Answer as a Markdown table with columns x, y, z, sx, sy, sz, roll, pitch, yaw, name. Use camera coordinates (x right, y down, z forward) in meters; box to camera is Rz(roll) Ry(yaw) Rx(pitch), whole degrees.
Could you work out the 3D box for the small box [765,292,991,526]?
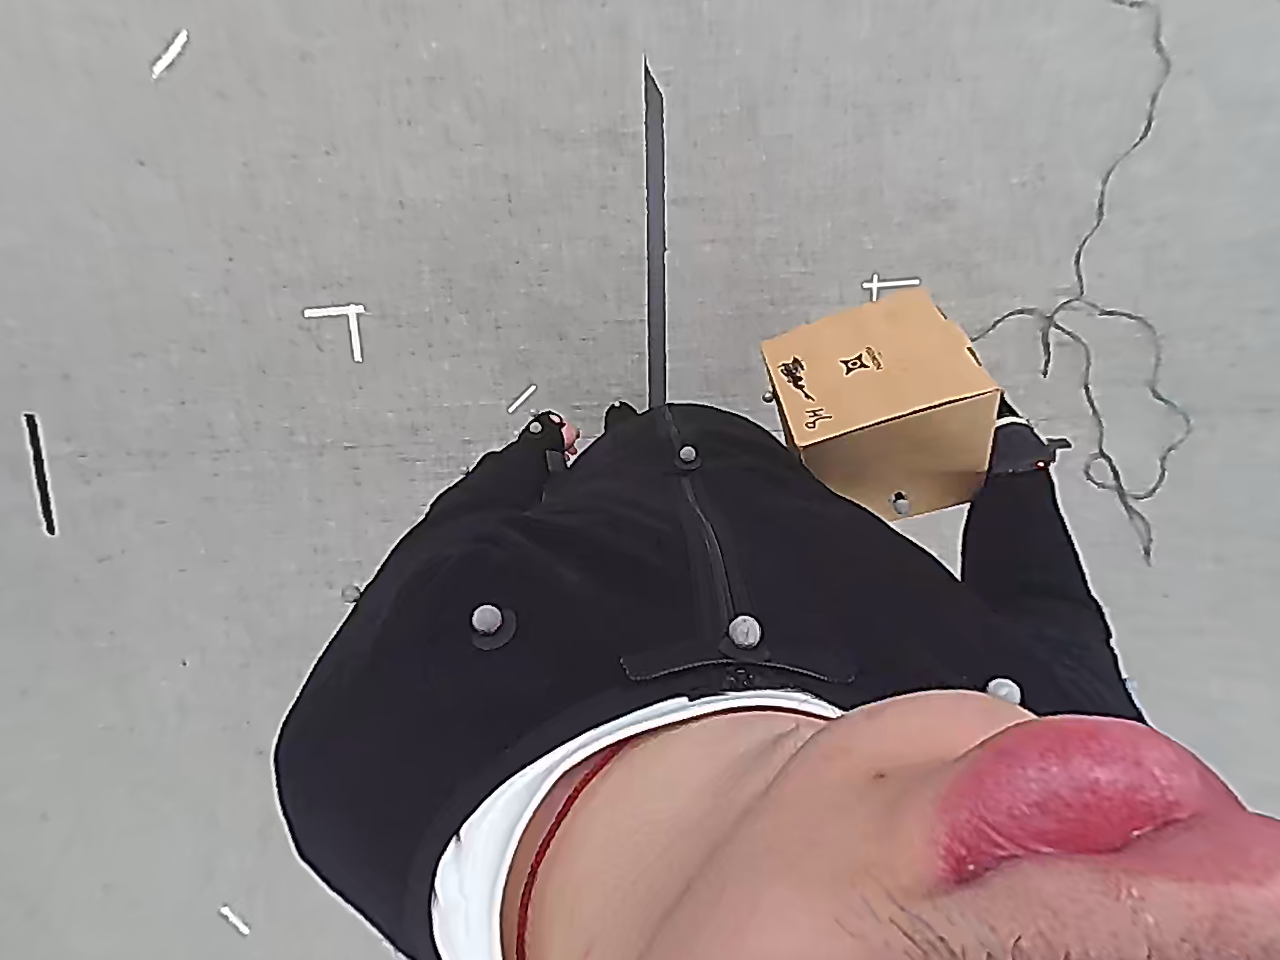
| x | y | z | sx | sy | sz | roll | pitch | yaw | name |
| --- | --- | --- | --- | --- | --- | --- | --- | --- | --- |
| 0.254 | -0.072 | 0.607 | 0.179 | 0.168 | 0.176 | -16 | 137 | 13 | small box |
